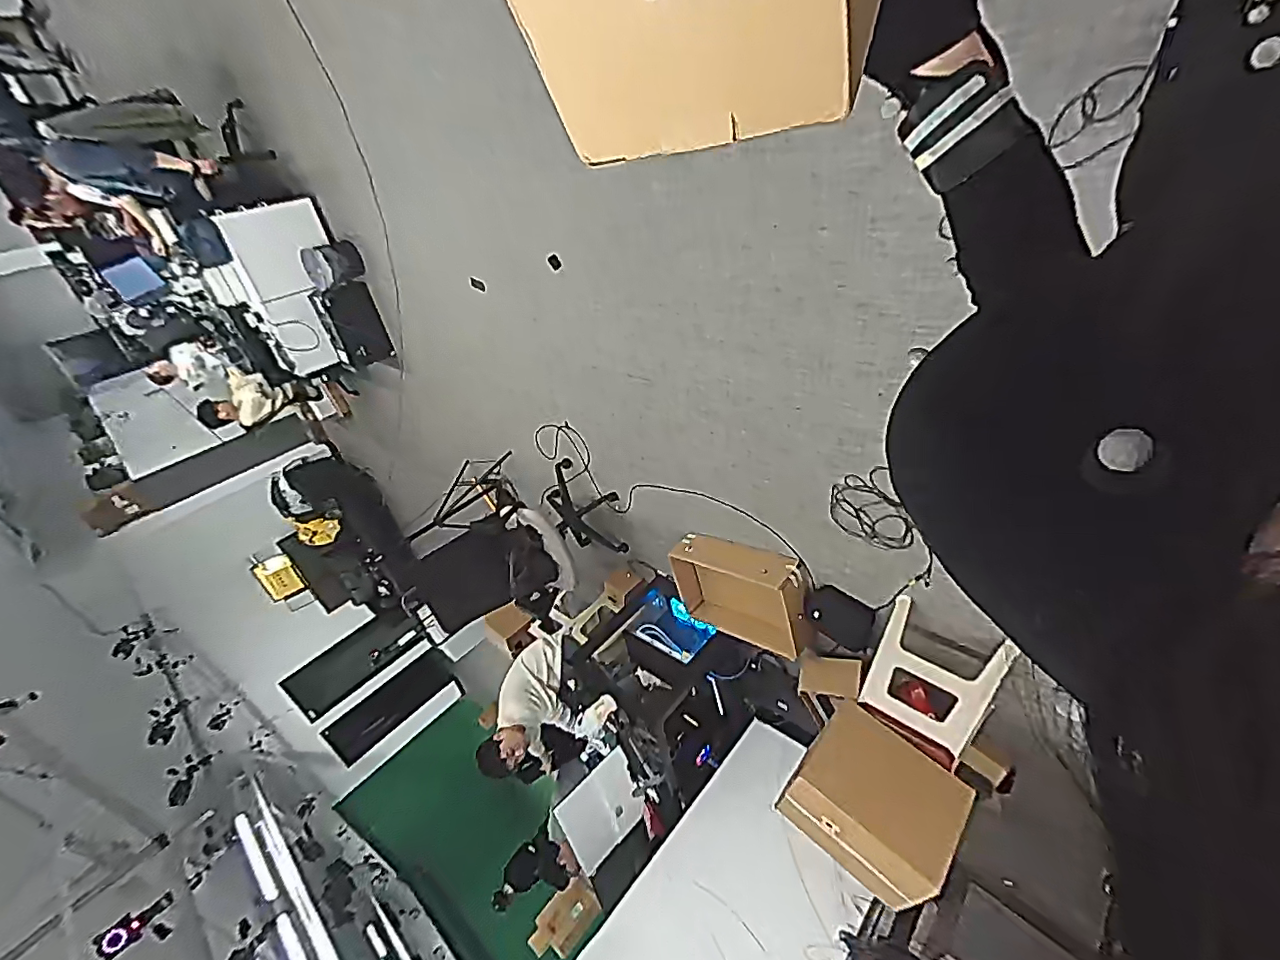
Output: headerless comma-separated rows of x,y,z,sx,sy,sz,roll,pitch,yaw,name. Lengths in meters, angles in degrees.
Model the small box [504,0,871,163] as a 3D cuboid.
0.023,-0.301,0.265,0.168,0.179,0.176,7,156,27,small box
